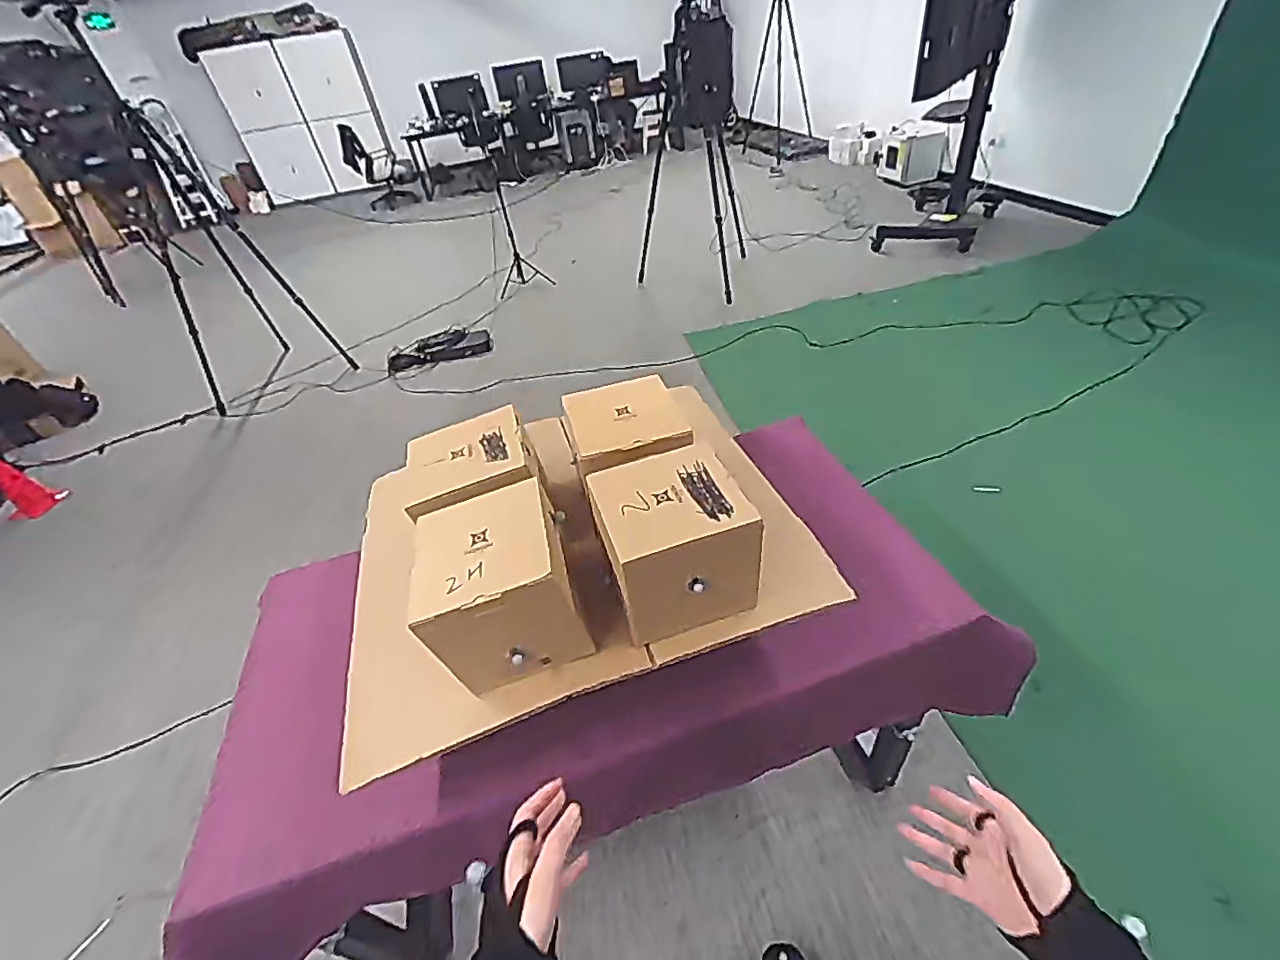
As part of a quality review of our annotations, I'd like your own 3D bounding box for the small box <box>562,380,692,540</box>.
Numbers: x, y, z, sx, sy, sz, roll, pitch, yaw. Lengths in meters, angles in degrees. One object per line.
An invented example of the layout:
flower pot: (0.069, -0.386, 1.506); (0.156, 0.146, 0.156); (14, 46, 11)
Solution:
small box: (-0.021, -0.033, 0.874); (0.168, 0.176, 0.179); (-15, 42, -8)
